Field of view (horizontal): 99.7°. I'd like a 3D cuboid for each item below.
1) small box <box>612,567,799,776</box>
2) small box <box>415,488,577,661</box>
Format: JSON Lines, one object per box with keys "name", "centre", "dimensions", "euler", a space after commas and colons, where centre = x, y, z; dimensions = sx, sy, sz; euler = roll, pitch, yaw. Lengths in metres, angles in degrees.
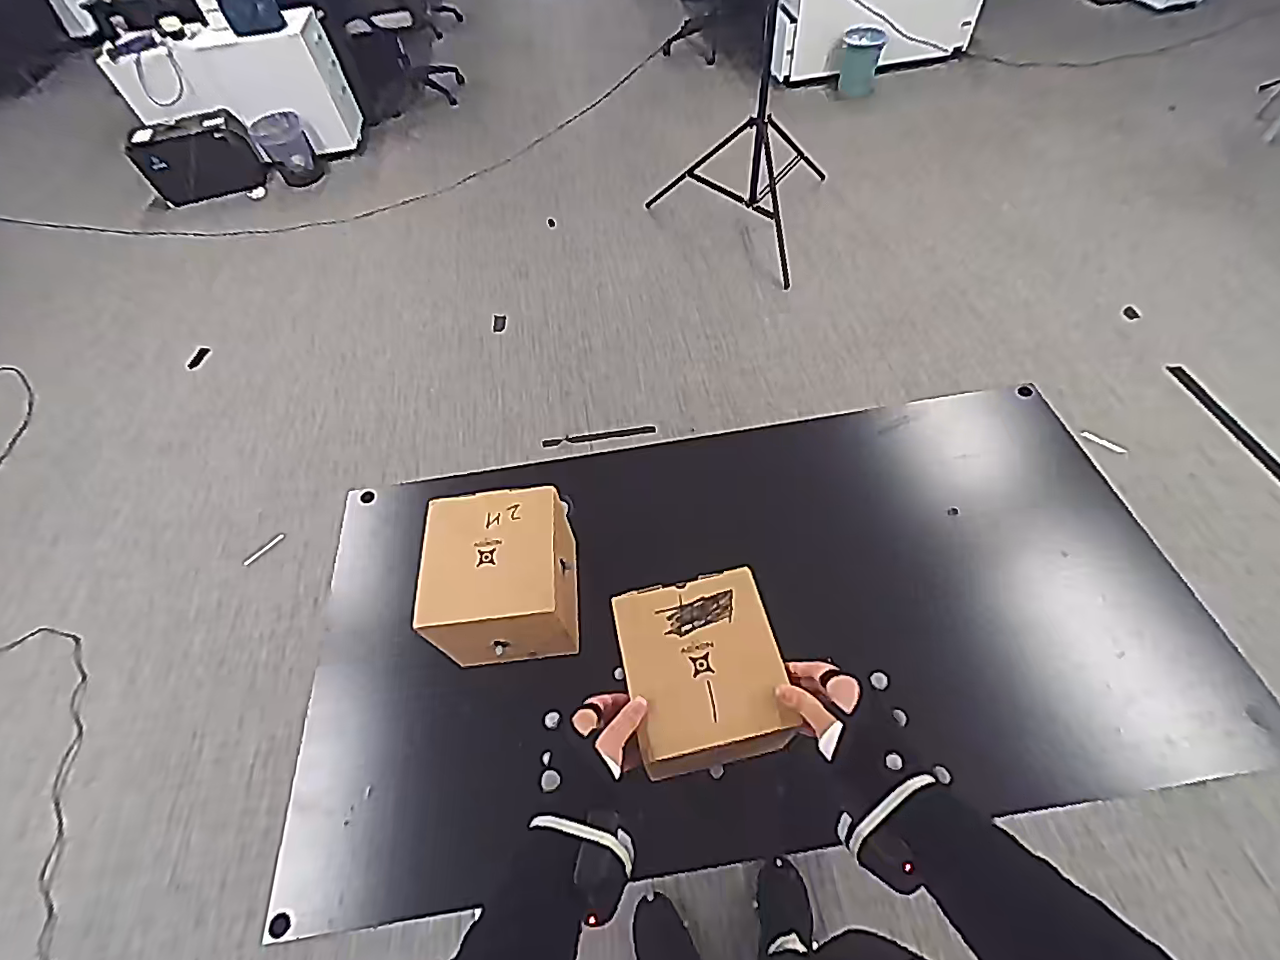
{"name": "small box", "centre": [0.068, 0.231, 0.643], "dimensions": [0.168, 0.176, 0.179], "euler": [-13, 56, -3]}
{"name": "small box", "centre": [-0.181, 0.136, 0.733], "dimensions": [0.168, 0.176, 0.179], "euler": [-7, 55, 0]}
